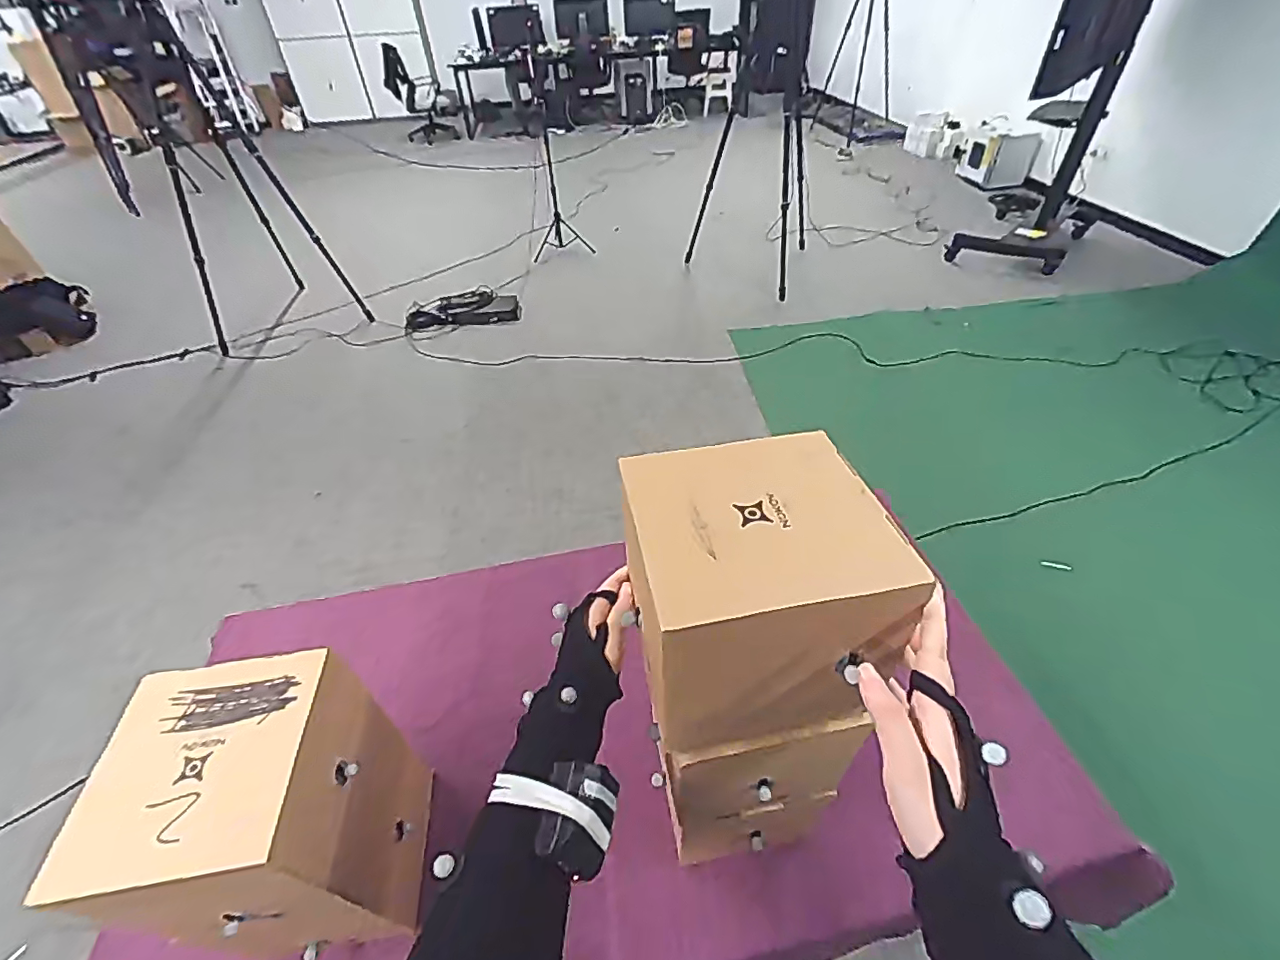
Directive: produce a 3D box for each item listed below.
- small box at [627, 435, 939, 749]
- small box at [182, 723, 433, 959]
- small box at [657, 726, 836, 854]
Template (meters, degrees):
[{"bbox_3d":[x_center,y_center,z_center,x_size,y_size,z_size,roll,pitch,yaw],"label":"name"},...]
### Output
[{"bbox_3d":[0.088,0.087,0.432,0.179,0.176,0.168,-8,41,-6],"label":"small box"},{"bbox_3d":[-0.346,0.406,0.611,0.168,0.176,0.179,-8,45,-5],"label":"small box"},{"bbox_3d":[0.113,0.331,0.659,0.168,0.176,0.179,-9,45,-6],"label":"small box"}]
